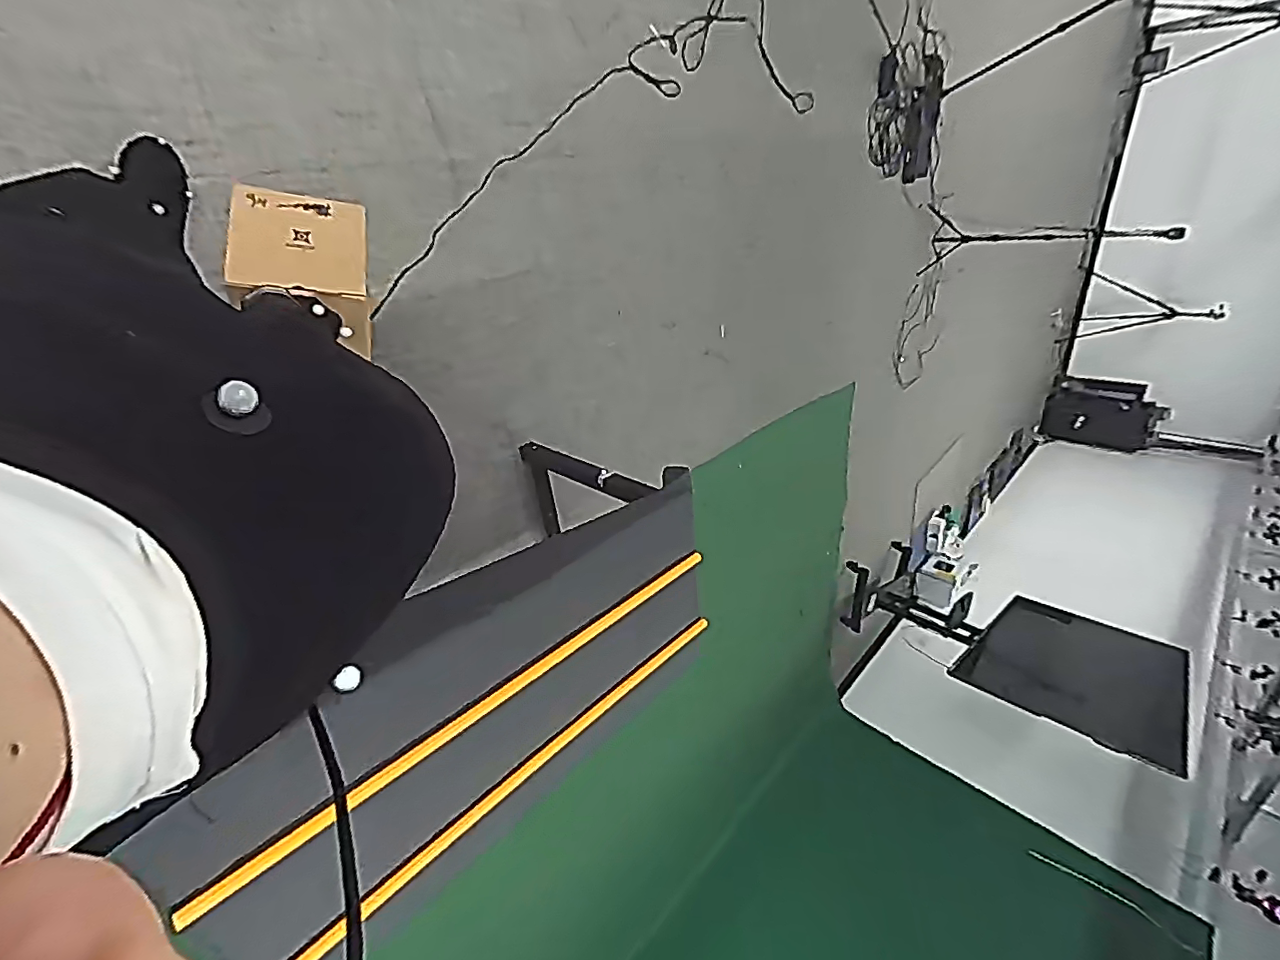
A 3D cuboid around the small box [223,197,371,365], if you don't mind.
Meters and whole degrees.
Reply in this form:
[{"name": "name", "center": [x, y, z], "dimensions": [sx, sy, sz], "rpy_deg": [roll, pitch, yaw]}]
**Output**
[{"name": "small box", "center": [-0.512, -0.292, 0.828], "dimensions": [0.168, 0.176, 0.179], "rpy_deg": [-5, 67, -25]}]
